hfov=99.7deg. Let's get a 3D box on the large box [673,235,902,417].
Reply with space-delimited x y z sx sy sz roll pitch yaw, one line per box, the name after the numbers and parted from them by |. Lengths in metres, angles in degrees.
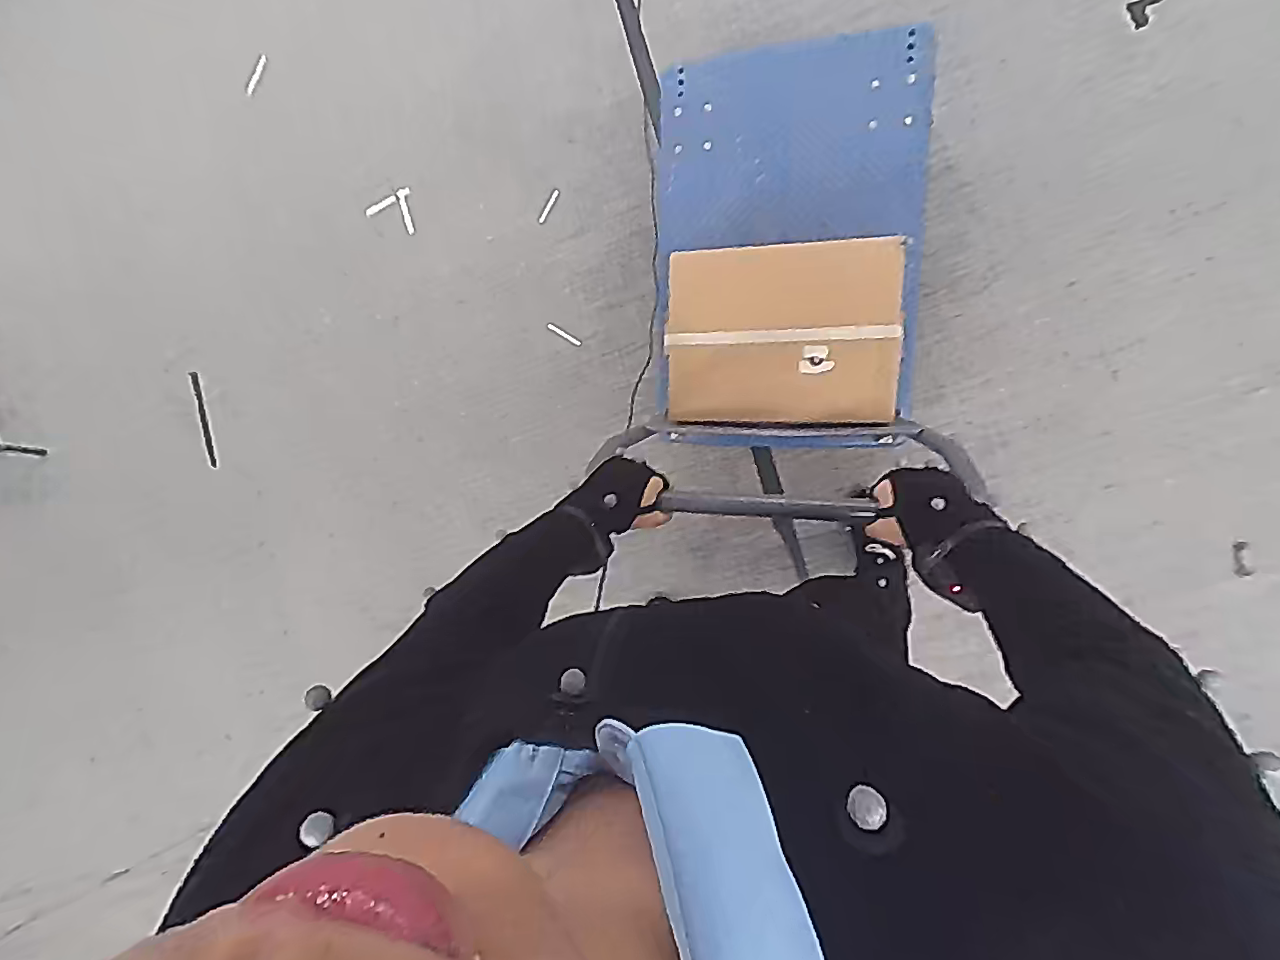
0.290 -0.292 1.132 0.408 0.320 0.320 2 99 14 | large box
